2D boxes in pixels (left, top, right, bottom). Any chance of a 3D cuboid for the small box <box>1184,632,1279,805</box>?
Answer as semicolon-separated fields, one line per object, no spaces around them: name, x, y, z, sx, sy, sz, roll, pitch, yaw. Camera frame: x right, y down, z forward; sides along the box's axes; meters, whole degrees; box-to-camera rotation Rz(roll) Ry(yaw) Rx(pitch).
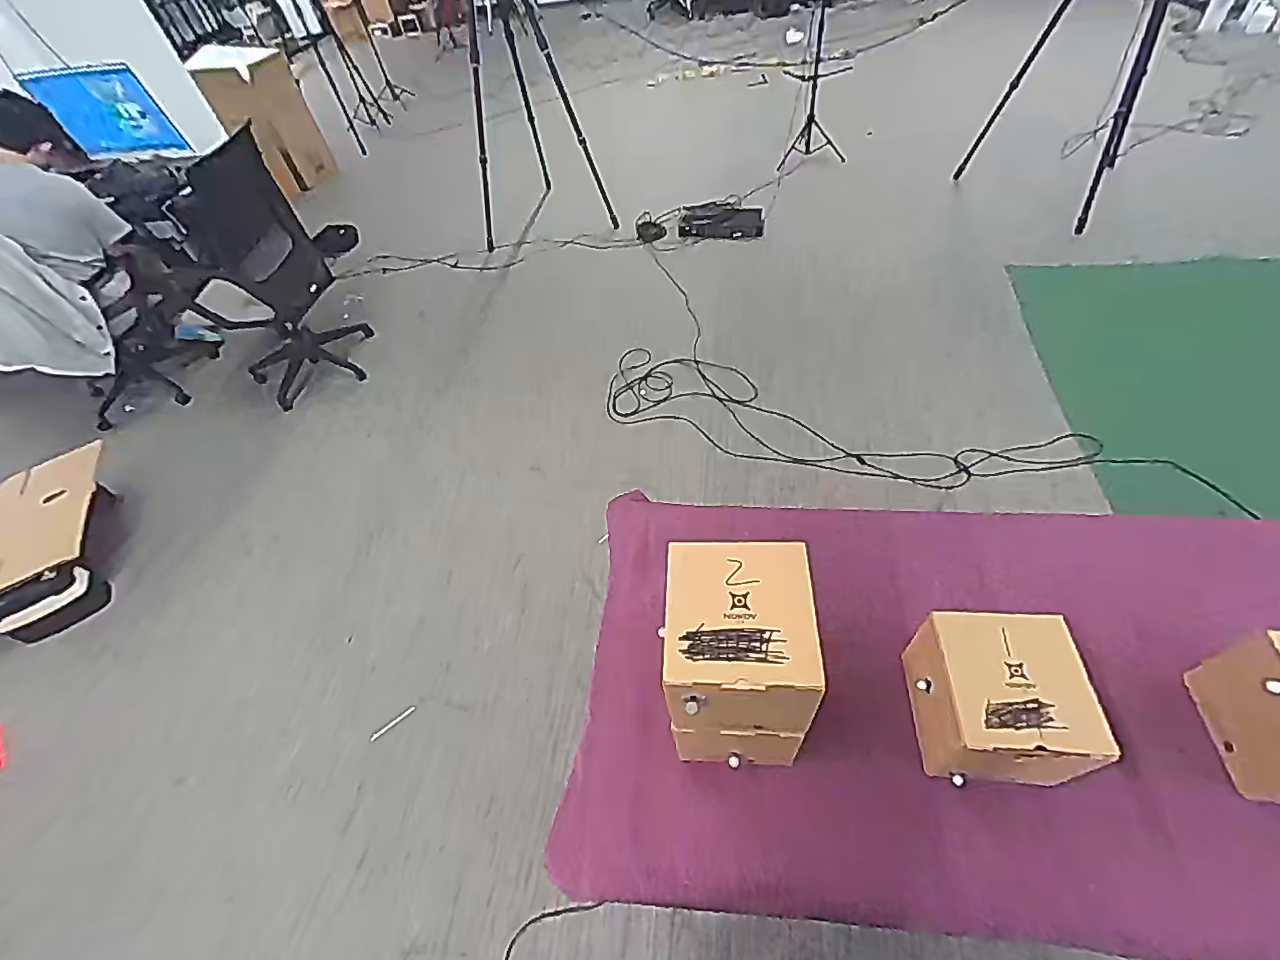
small box;0.861;0.306;0.672;0.179;0.176;0.168;1;51;10

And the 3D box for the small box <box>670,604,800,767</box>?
small box;0.134;0.299;0.789;0.168;0.176;0.179;-1;51;8

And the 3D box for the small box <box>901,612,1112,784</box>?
small box;0.476;0.299;0.738;0.168;0.176;0.179;0;51;9
